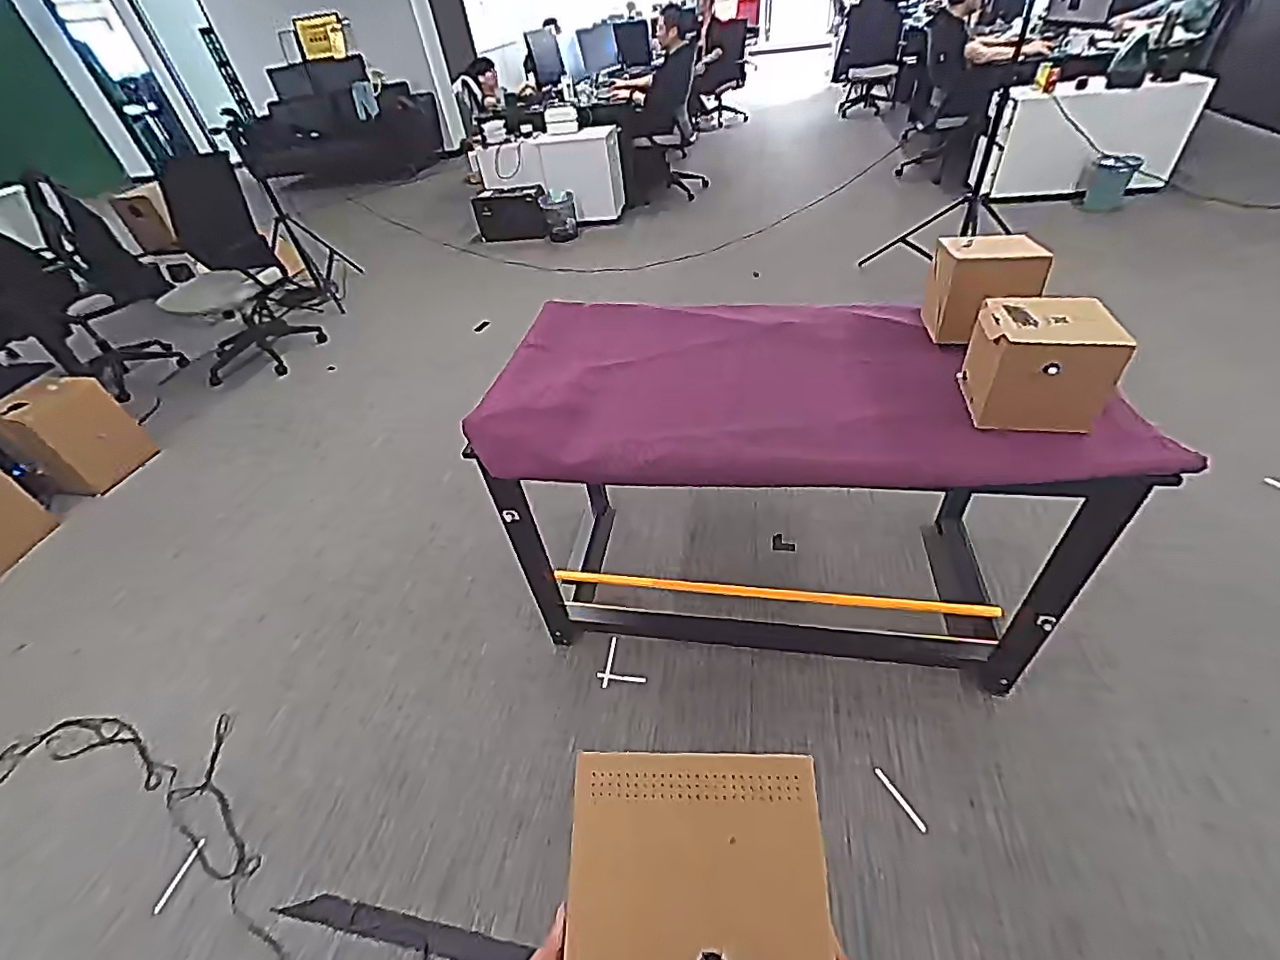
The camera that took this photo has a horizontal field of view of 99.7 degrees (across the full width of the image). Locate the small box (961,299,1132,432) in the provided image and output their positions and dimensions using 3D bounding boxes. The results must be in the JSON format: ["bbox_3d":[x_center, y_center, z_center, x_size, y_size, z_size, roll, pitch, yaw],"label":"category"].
[{"bbox_3d":[0.679,-0.197,0.934,0.179,0.176,0.168,4,42,14],"label":"small box"}]
